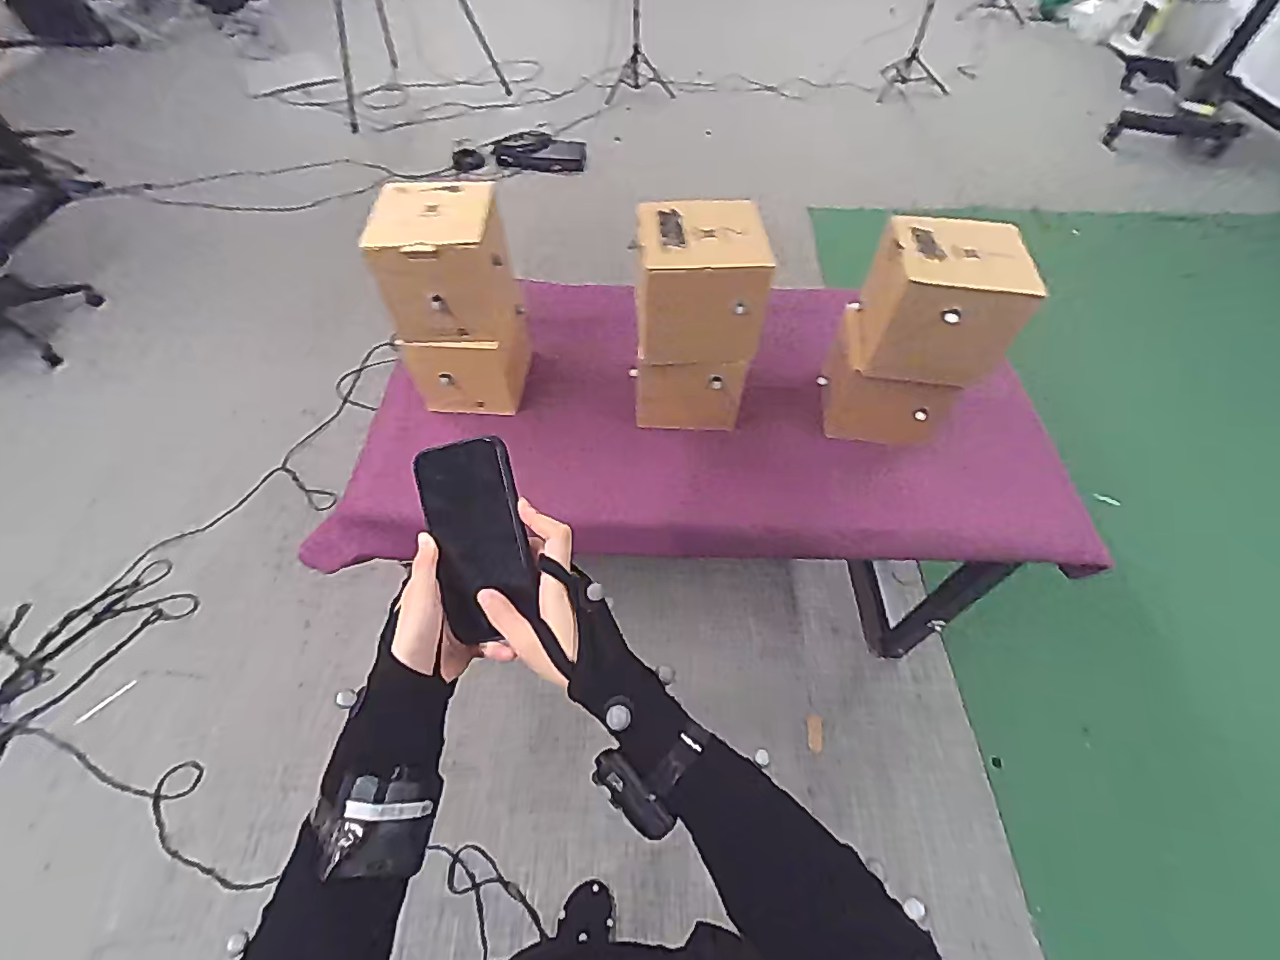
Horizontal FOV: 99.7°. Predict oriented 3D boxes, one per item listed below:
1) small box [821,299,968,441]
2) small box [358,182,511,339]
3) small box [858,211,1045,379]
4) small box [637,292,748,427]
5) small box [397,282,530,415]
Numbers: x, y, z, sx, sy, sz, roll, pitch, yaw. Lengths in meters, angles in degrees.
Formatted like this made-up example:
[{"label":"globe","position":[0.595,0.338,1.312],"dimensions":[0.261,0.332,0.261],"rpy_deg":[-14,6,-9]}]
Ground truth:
[{"label":"small box","position":[0.425,-0.185,0.933],"dimensions":[0.179,0.176,0.168],"rpy_deg":[7,55,6]},{"label":"small box","position":[-0.305,-0.336,0.846],"dimensions":[0.168,0.176,0.179],"rpy_deg":[-2,55,-1]},{"label":"small box","position":[0.432,-0.267,0.791],"dimensions":[0.179,0.176,0.168],"rpy_deg":[7,55,5]},{"label":"small box","position":[0.086,-0.207,0.950],"dimensions":[0.179,0.176,0.168],"rpy_deg":[2,55,2]},{"label":"small box","position":[-0.303,-0.234,0.975],"dimensions":[0.168,0.176,0.179],"rpy_deg":[2,55,2]}]
